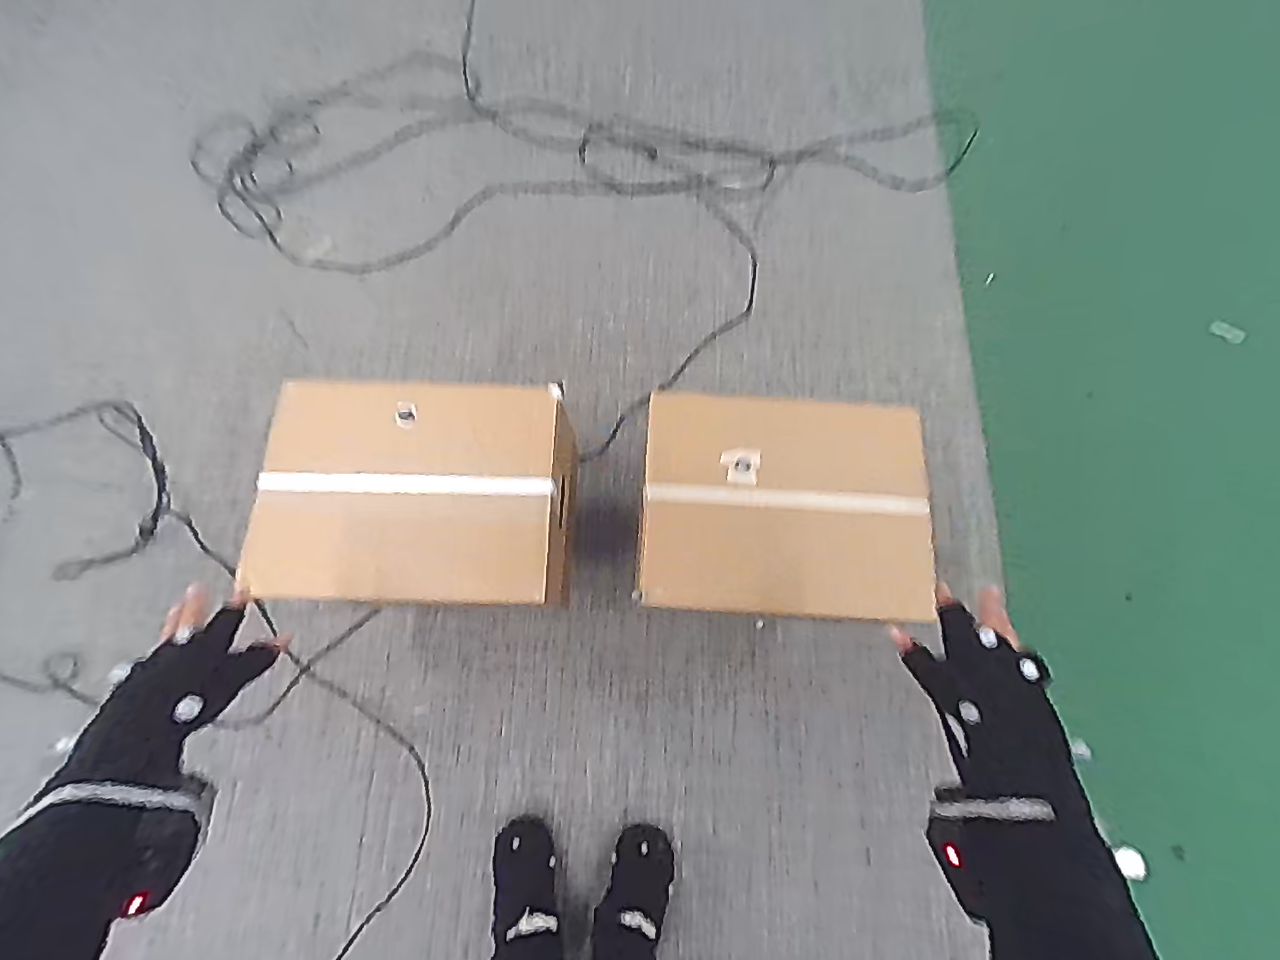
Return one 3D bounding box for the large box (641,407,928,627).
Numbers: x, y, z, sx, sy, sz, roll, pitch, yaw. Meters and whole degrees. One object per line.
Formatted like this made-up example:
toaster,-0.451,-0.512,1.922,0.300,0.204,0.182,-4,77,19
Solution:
large box,0.213,0.083,0.933,0.408,0.320,0.320,4,74,0
